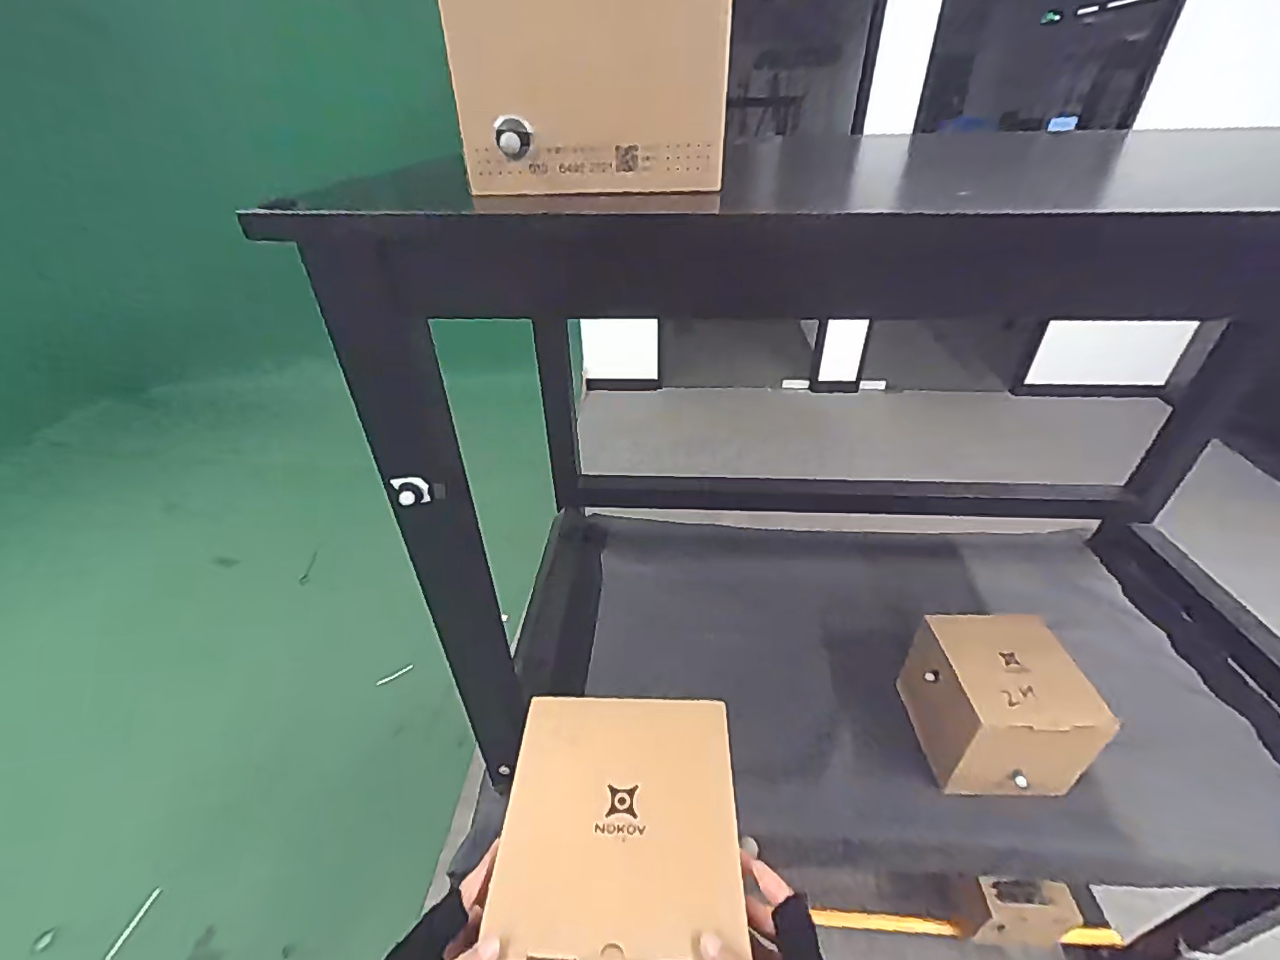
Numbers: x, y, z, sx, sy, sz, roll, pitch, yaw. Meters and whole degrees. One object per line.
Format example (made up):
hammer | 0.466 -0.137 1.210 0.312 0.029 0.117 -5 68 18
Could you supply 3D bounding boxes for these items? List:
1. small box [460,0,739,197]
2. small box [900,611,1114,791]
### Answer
small box | -0.023 -0.305 0.387 0.168 0.176 0.179 -1 34 -1
small box | 0.497 0.310 0.769 0.168 0.176 0.179 -1 34 2
